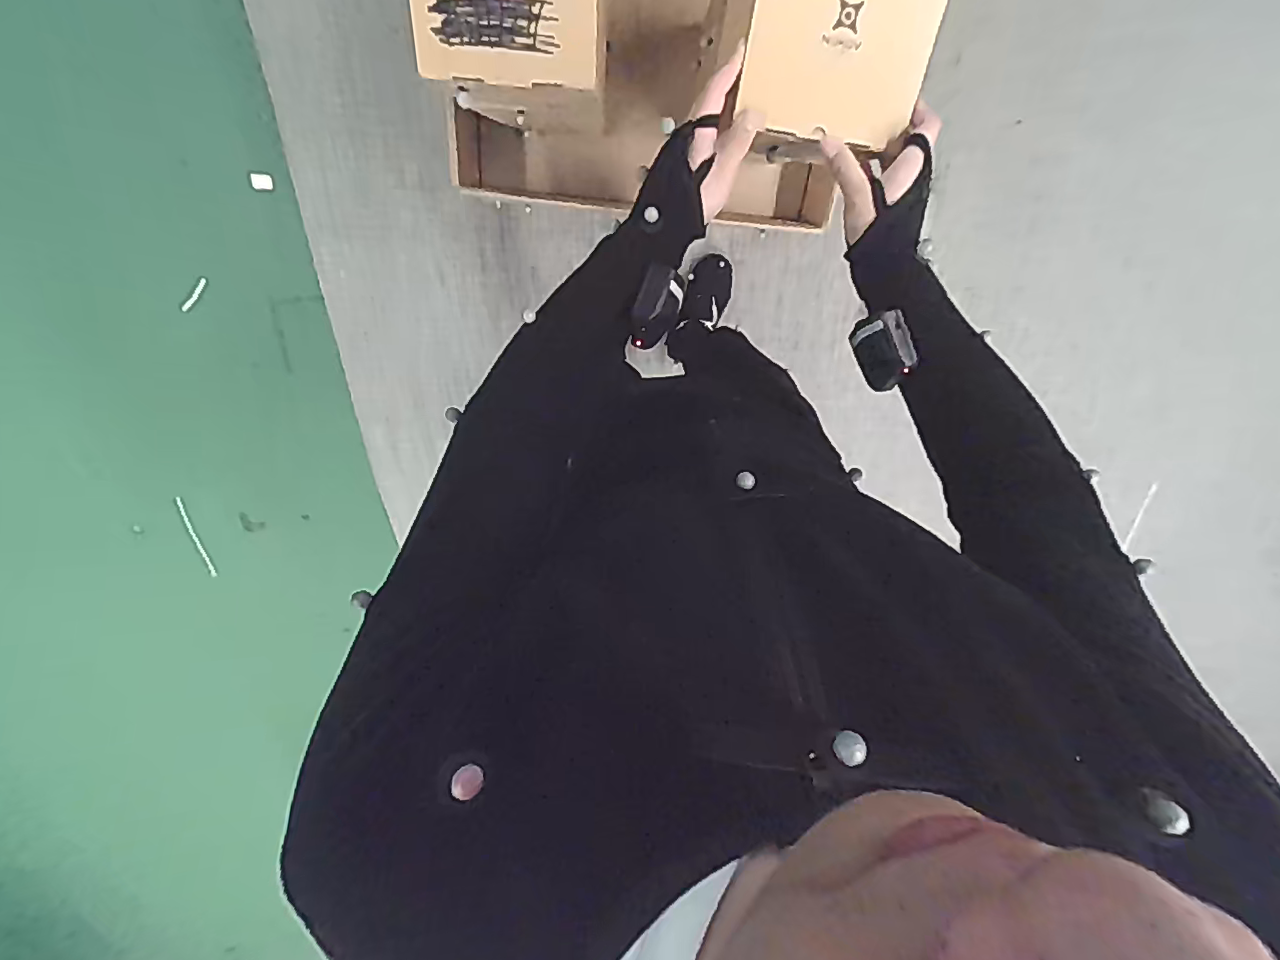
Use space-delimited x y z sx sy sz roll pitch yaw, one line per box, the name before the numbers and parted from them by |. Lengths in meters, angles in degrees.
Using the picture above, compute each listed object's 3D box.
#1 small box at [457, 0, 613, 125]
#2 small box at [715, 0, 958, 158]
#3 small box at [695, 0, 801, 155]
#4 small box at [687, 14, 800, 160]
small box | -0.120 -0.556 0.665 0.168 0.176 0.179 3 117 -1
small box | 0.178 -0.429 0.525 0.168 0.176 0.179 5 118 -6
small box | 0.170 -0.531 0.686 0.168 0.176 0.179 8 118 -5
small box | 0.172 -0.608 0.830 0.168 0.176 0.179 8 118 -5
